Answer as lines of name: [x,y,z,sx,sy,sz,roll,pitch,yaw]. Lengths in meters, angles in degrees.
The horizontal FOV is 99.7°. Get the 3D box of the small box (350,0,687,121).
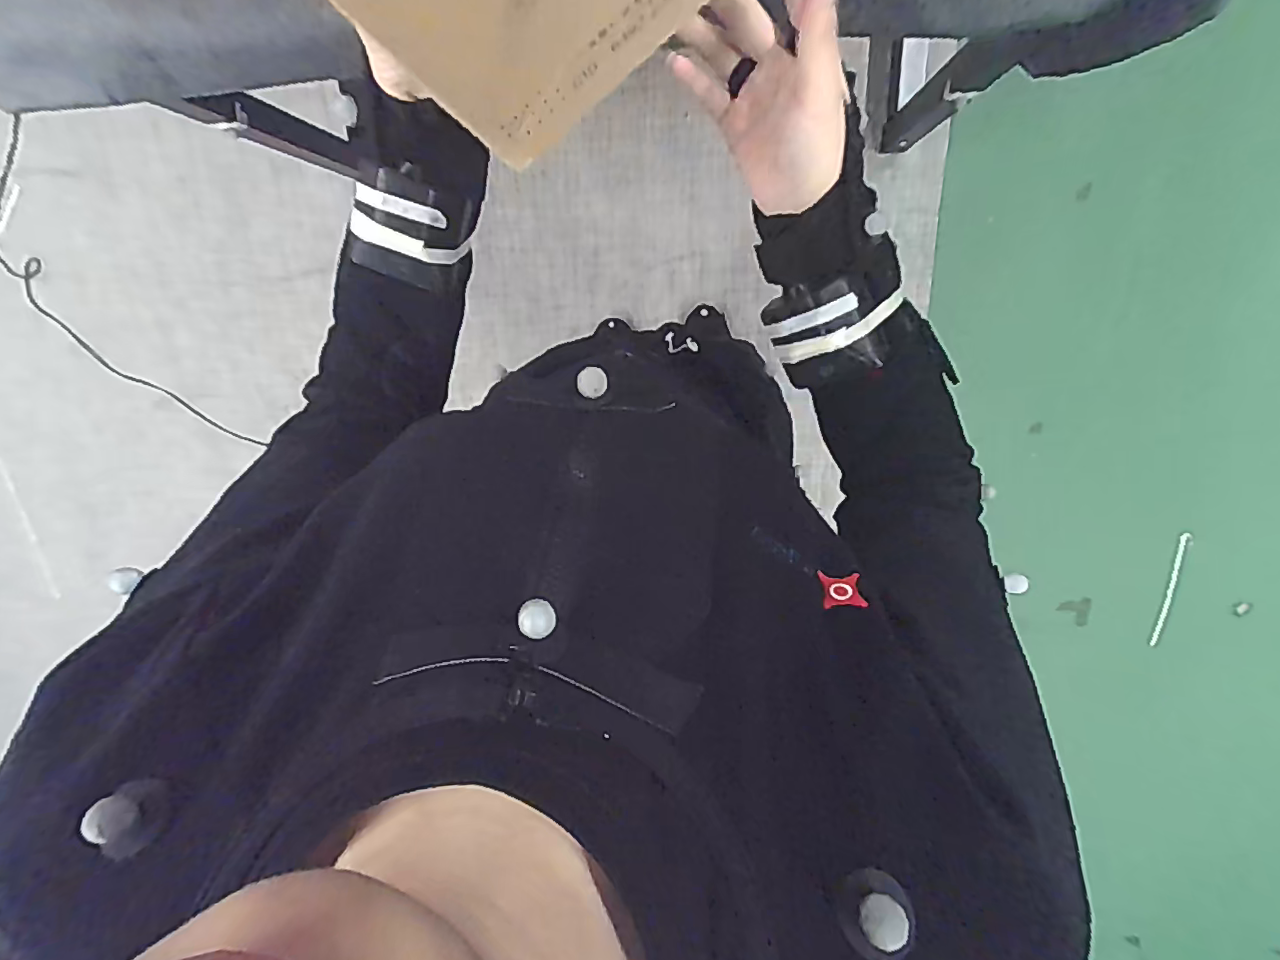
small box: [-0.049,-0.239,0.142,0.168,0.176,0.179,-34,92,16]
